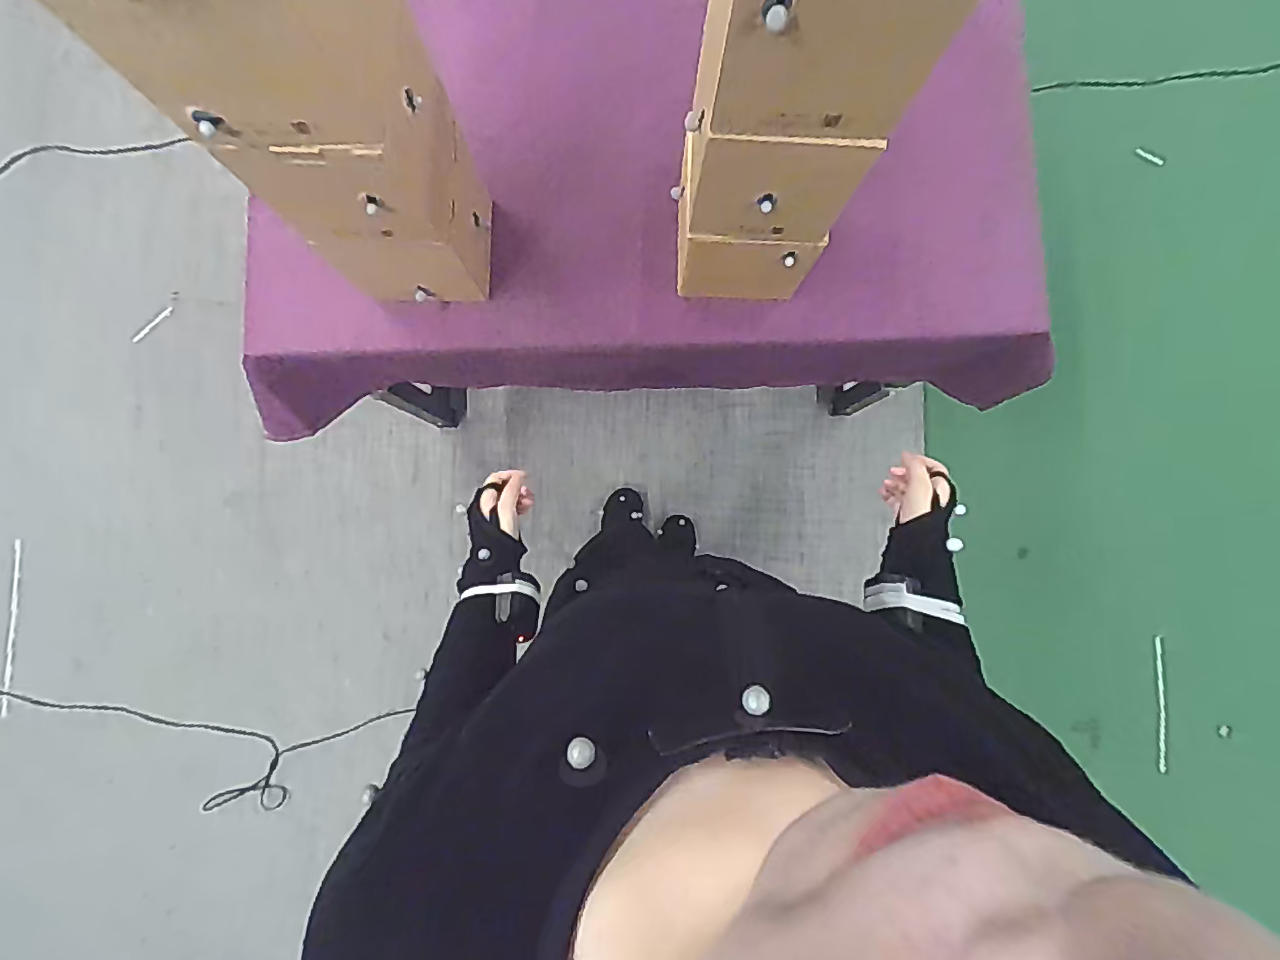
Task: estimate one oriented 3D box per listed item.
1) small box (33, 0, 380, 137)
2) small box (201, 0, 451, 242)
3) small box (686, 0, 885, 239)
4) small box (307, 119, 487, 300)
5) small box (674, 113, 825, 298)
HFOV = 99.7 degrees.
[{"bbox_3d":[-0.316,-0.393,0.409,0.168,0.176,0.179,-1,84,-1],"label":"small box"},{"bbox_3d":[-0.311,-0.375,0.572,0.168,0.176,0.179,2,85,-1],"label":"small box"},{"bbox_3d":[0.140,-0.381,0.576,0.168,0.176,0.179,4,85,-1],"label":"small box"},{"bbox_3d":[-0.314,-0.357,0.735,0.179,0.176,0.168,1,85,-1],"label":"small box"},{"bbox_3d":[0.139,-0.362,0.739,0.179,0.176,0.168,2,85,-1],"label":"small box"}]
